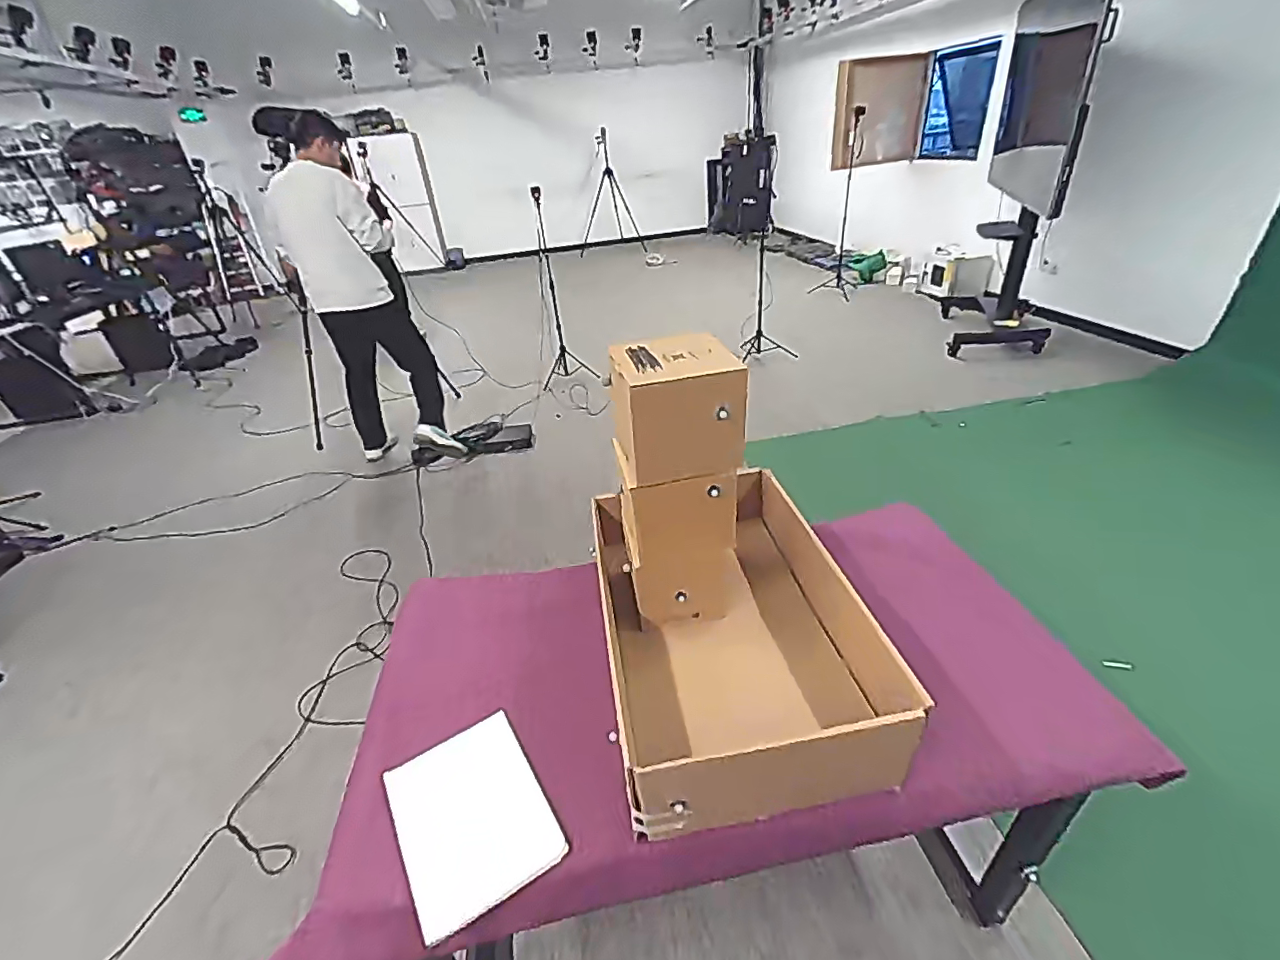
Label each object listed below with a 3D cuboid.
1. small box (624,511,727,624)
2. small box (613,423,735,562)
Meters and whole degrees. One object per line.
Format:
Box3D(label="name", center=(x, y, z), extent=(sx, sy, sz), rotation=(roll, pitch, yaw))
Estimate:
Box3D(label="small box", center=(0.067, 0.156, 1.033), extent=(0.168, 0.176, 0.179), rotation=(-9, 34, -4))
Box3D(label="small box", center=(0.059, 0.023, 0.941), extent=(0.179, 0.176, 0.168), rotation=(-10, 34, -7))
